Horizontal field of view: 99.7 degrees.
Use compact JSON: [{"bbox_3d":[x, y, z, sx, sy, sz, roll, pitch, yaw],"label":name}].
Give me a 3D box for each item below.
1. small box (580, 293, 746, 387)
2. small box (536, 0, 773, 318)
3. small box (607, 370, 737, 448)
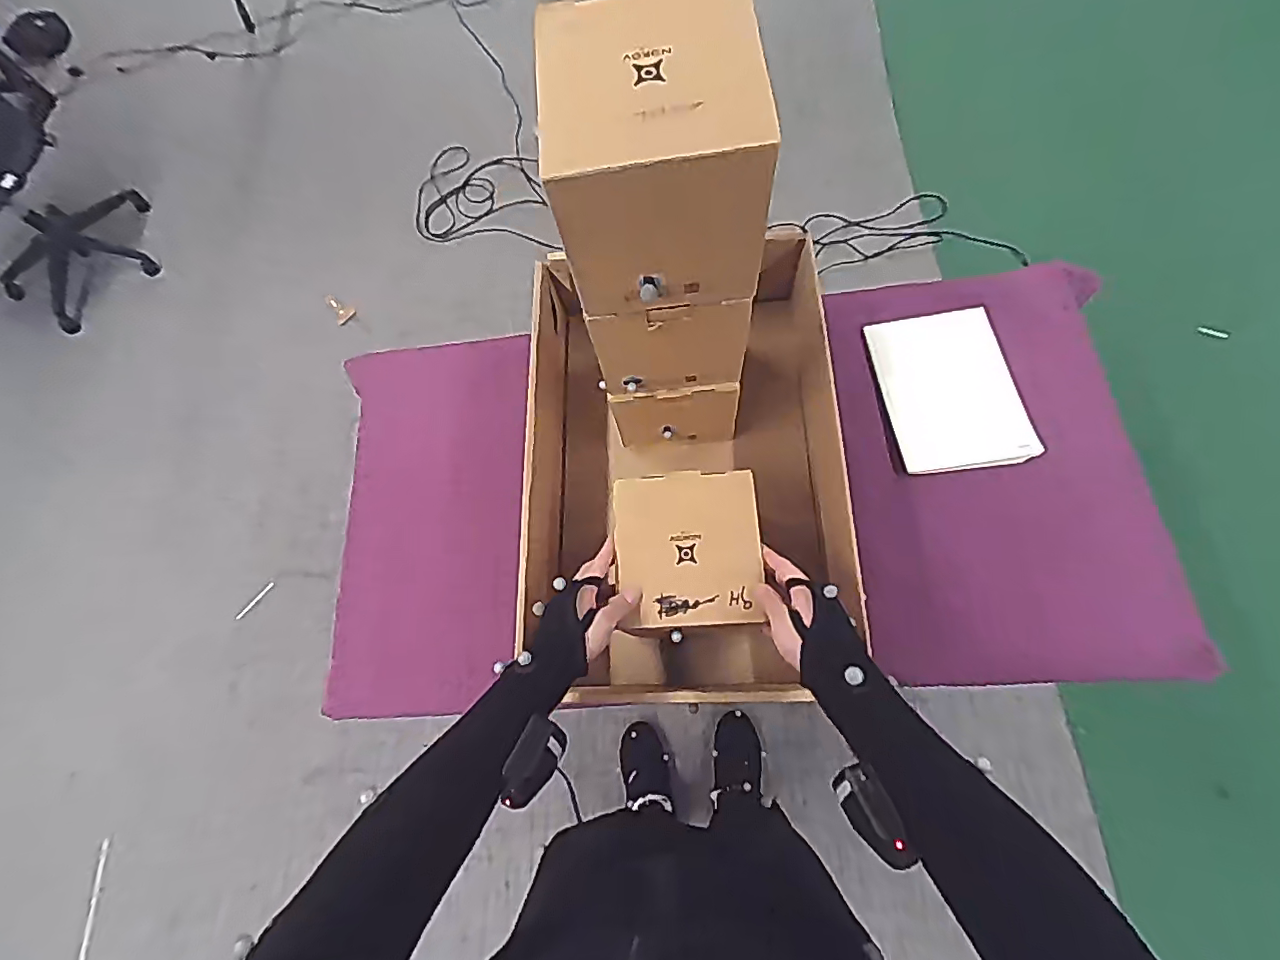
[{"bbox_3d":[0.026,-0.219,0.625,0.168,0.176,0.179,-6,71,4],"label":"small box"},{"bbox_3d":[0.012,-0.269,0.470,0.168,0.176,0.179,-6,72,4],"label":"small box"},{"bbox_3d":[0.043,-0.161,0.777,0.168,0.176,0.179,-5,72,4],"label":"small box"}]
